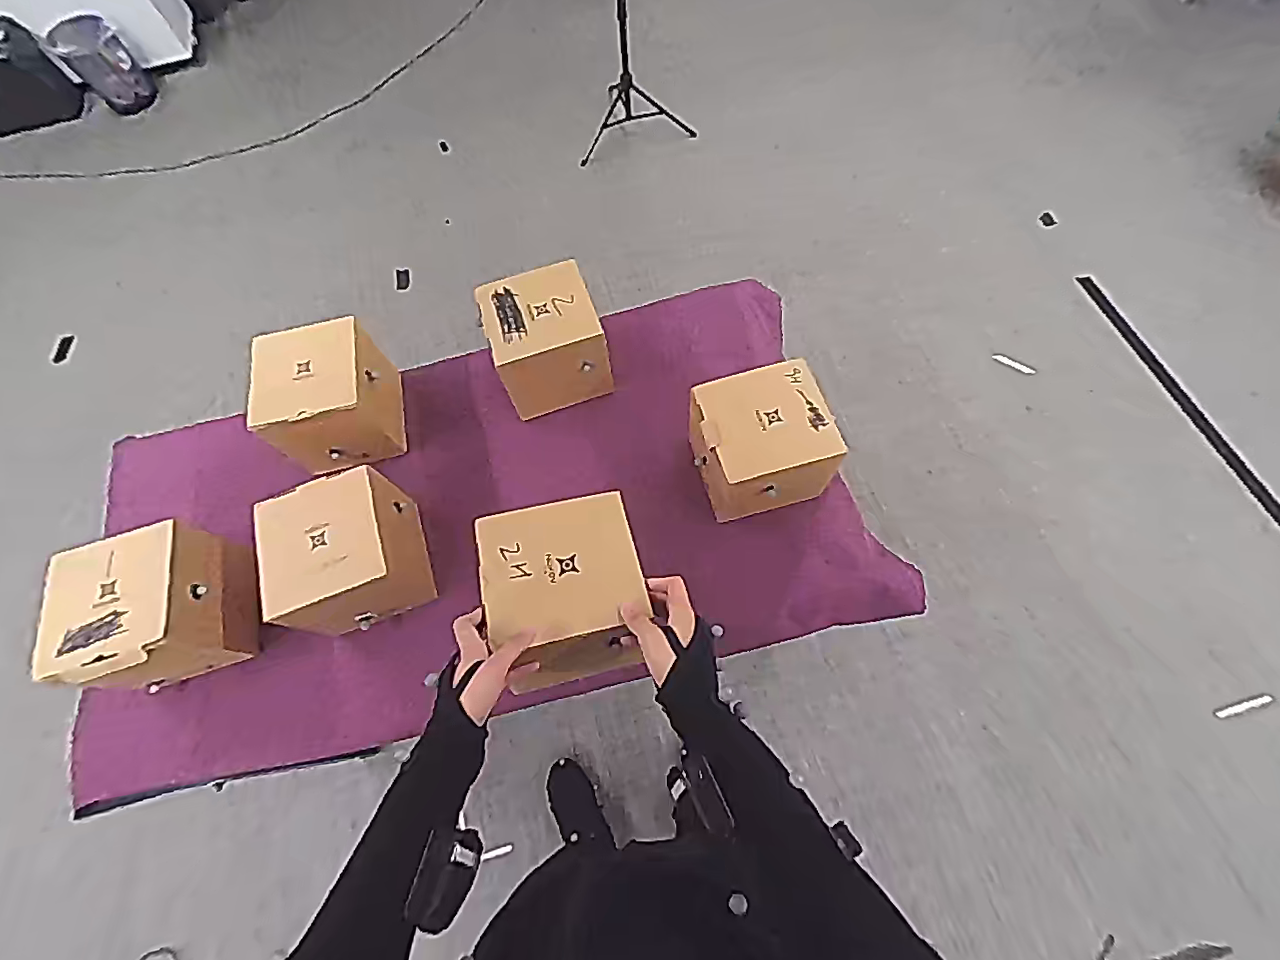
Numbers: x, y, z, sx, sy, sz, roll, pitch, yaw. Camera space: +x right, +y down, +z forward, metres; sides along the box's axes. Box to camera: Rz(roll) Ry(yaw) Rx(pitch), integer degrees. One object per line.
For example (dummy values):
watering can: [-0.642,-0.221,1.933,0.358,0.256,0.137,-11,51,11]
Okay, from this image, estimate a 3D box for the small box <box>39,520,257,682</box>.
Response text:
small box: [-0.693,0.184,0.786,0.168,0.176,0.179,-18,66,-4]

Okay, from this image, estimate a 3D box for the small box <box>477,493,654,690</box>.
small box: [-0.090,0.141,0.664,0.179,0.176,0.168,-11,57,-9]

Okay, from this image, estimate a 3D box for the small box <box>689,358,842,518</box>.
small box: [0.181,-0.056,0.835,0.179,0.176,0.168,-15,67,-1]

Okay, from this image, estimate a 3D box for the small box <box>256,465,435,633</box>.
small box: [-0.429,0.109,0.804,0.168,0.176,0.179,-21,67,-4]

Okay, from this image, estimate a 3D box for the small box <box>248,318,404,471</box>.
small box: [-0.516,-0.138,0.911,0.168,0.176,0.179,-13,67,-3]
